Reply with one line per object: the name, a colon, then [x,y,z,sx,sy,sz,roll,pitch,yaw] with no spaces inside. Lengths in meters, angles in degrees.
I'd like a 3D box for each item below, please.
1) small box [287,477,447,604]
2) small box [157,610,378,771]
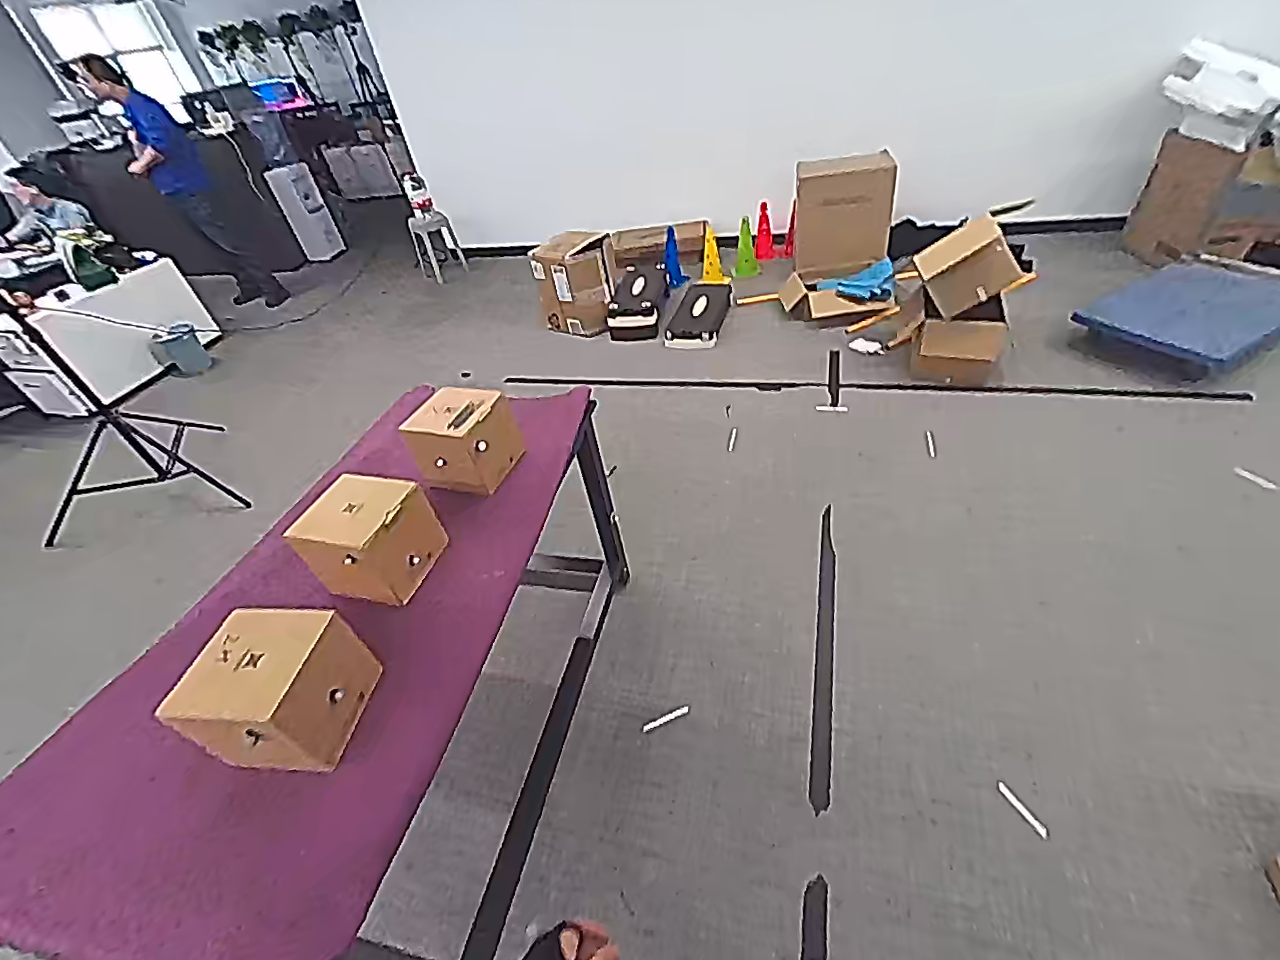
small box: [-0.504,0.115,1.024,0.179,0.176,0.168,6,43,17]
small box: [-0.528,0.312,0.802,0.179,0.176,0.168,-2,41,10]
